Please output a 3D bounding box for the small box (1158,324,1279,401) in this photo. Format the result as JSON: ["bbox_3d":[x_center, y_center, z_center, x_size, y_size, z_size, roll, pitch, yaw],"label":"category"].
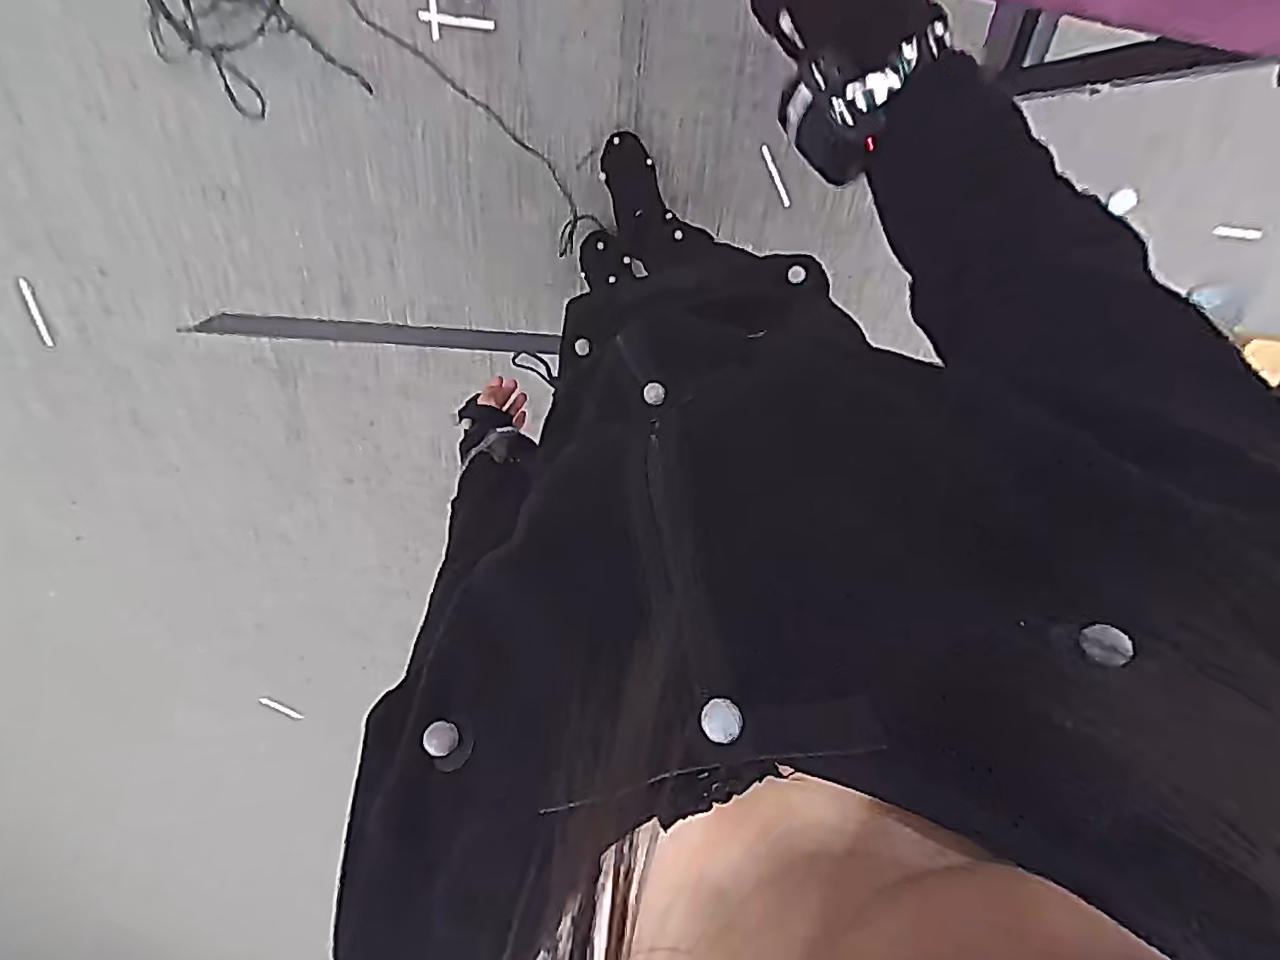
[{"bbox_3d":[1.626,-0.330,1.508,0.179,0.176,0.168,-1,121,-9],"label":"small box"}]
